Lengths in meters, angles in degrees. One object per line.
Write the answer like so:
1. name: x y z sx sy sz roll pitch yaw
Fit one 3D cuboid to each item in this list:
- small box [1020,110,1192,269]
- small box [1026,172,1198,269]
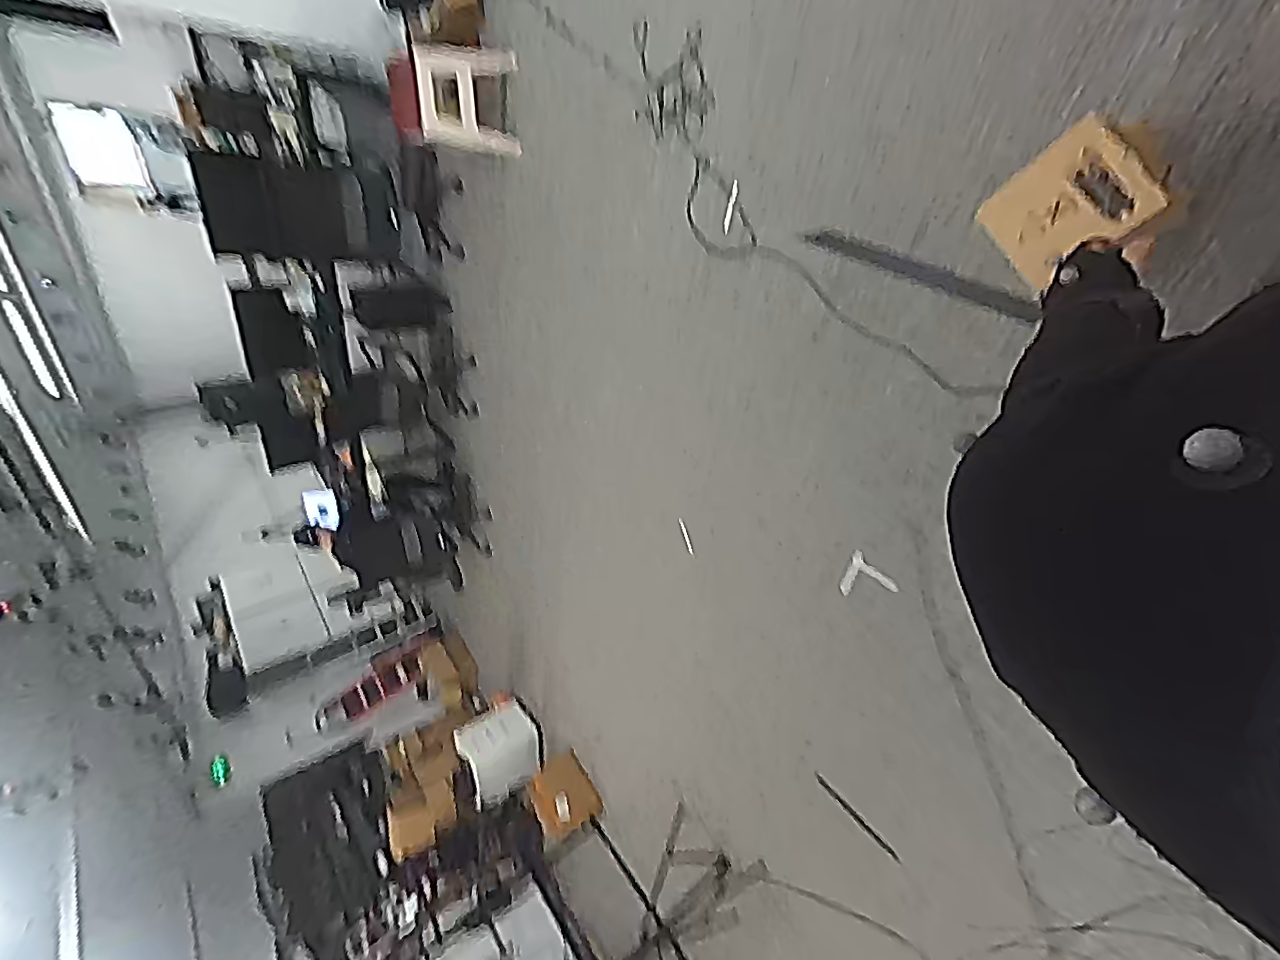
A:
1. small box: 0.794 -0.482 0.920 0.179 0.176 0.168 -21 88 53
2. small box: 0.903 -0.530 1.036 0.168 0.176 0.179 57 141 18
